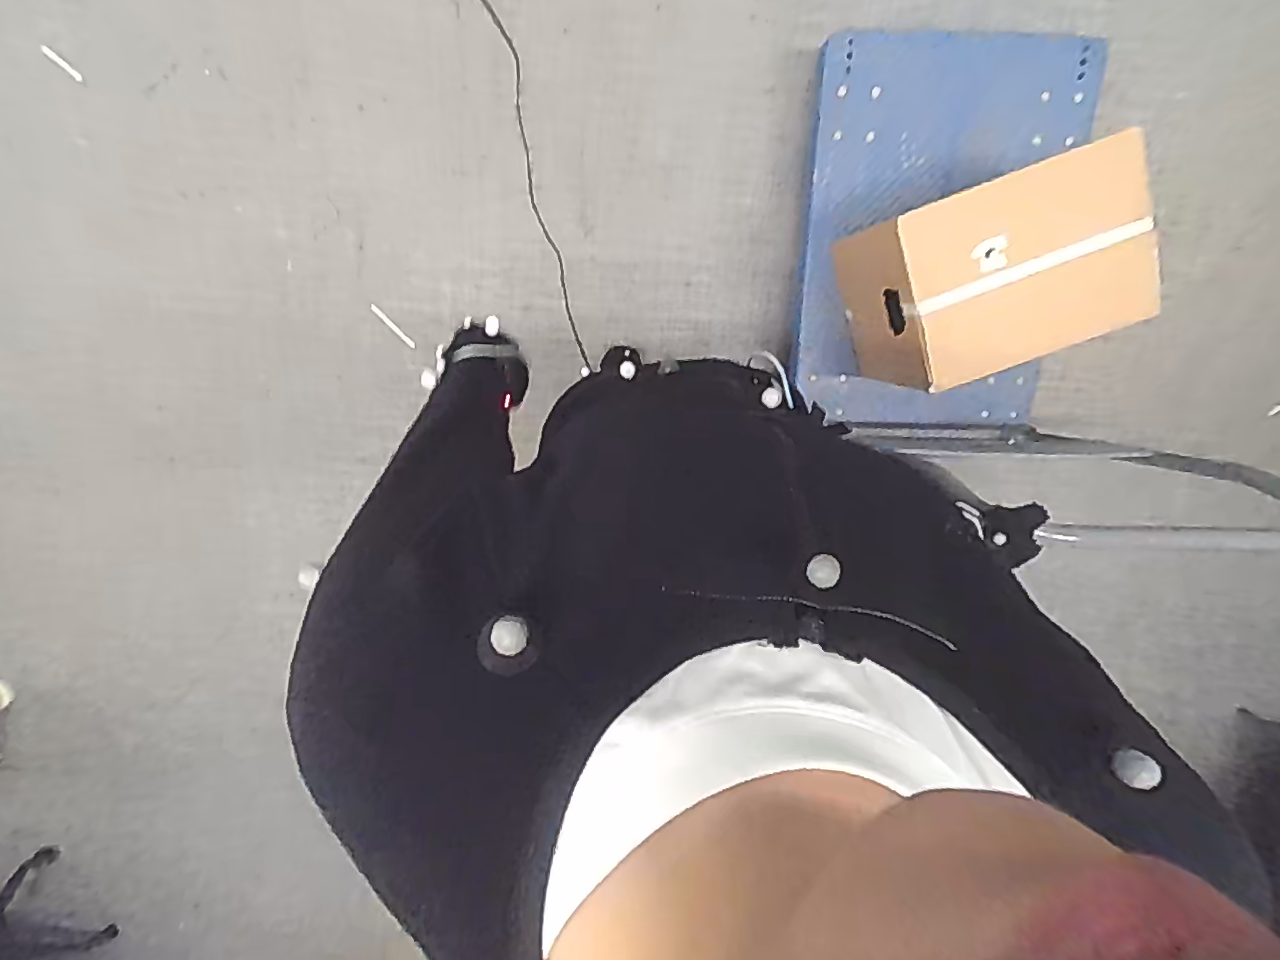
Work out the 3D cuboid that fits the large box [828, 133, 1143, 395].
[{"bbox_3d":[0.646,-0.399,1.064,0.408,0.320,0.320,-19,105,5],"label":"large box"}]
